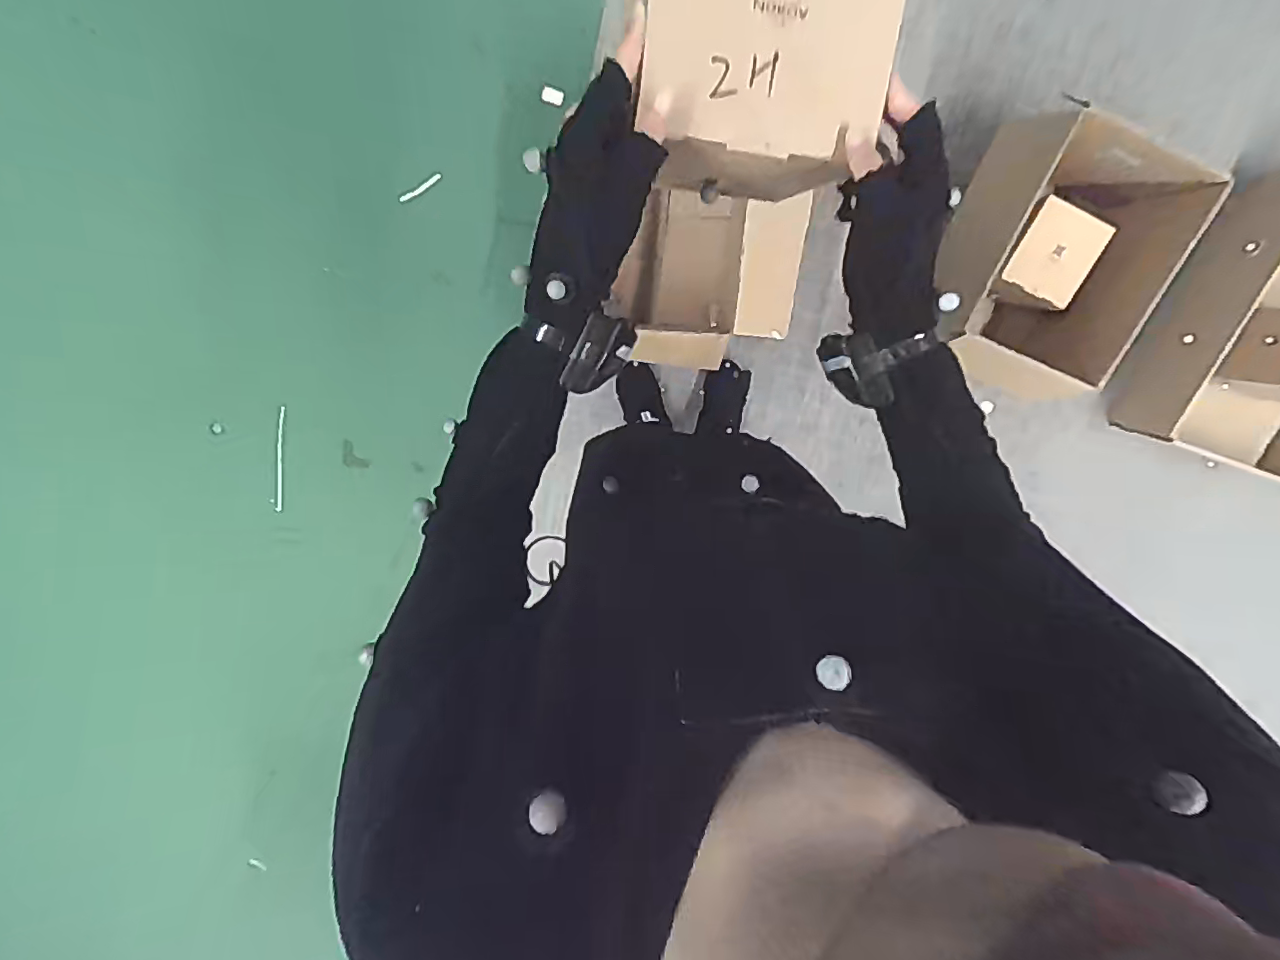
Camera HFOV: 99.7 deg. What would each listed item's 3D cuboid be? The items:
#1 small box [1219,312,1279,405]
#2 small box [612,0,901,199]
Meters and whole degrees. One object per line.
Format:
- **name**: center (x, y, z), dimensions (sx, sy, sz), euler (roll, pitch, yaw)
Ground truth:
- **small box**: center (1.487, -0.267, 1.217), dimensions (0.168, 0.176, 0.179), euler (20, 105, -5)
- **small box**: center (0.071, -0.326, 0.402), dimensions (0.168, 0.176, 0.179), euler (2, 110, -9)
